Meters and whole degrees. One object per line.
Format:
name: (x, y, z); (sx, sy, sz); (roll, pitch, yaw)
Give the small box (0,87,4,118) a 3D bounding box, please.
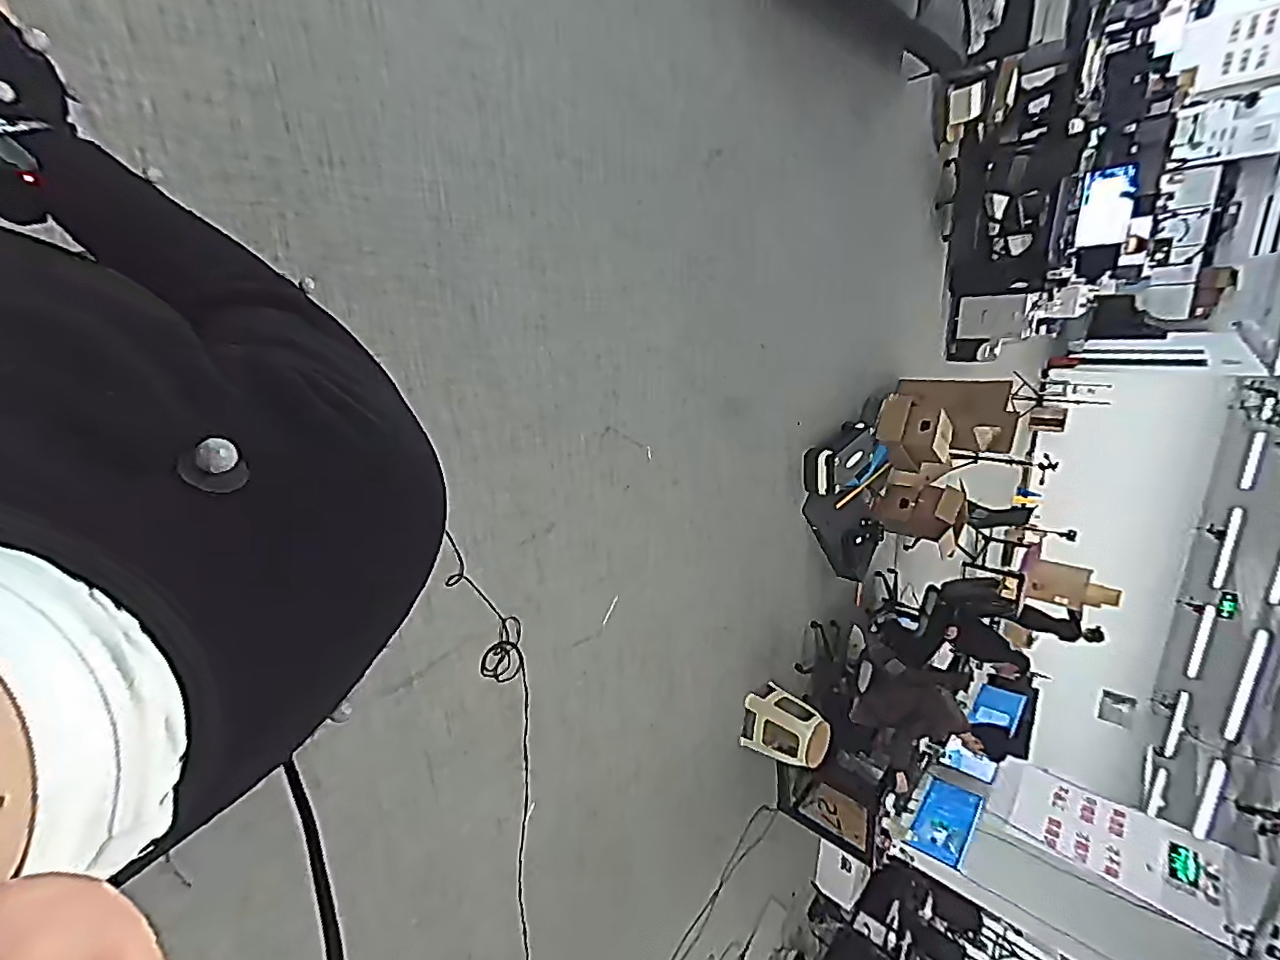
small box: (-0.639, -0.395, 0.411); (0.179, 0.176, 0.168); (-14, 107, -41)
